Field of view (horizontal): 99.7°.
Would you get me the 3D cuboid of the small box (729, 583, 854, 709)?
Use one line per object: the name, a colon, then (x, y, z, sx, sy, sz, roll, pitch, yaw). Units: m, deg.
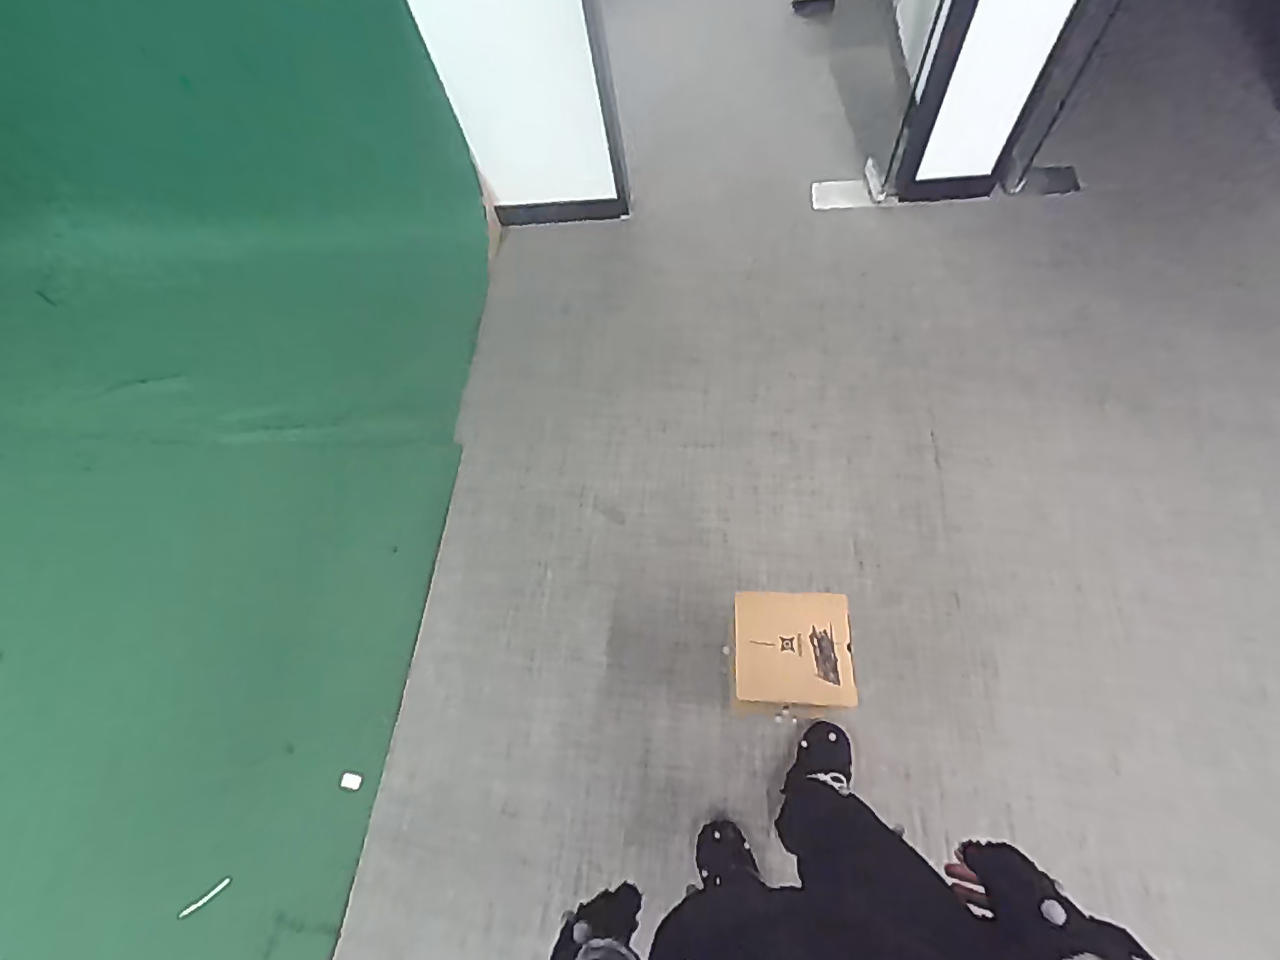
small box: (0.243, 0.280, 0.897, 0.179, 0.176, 0.168, 3, 63, 10)

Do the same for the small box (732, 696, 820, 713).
small box: (0.292, 0.419, 1.193, 0.179, 0.176, 0.168, -1, 64, 10)
